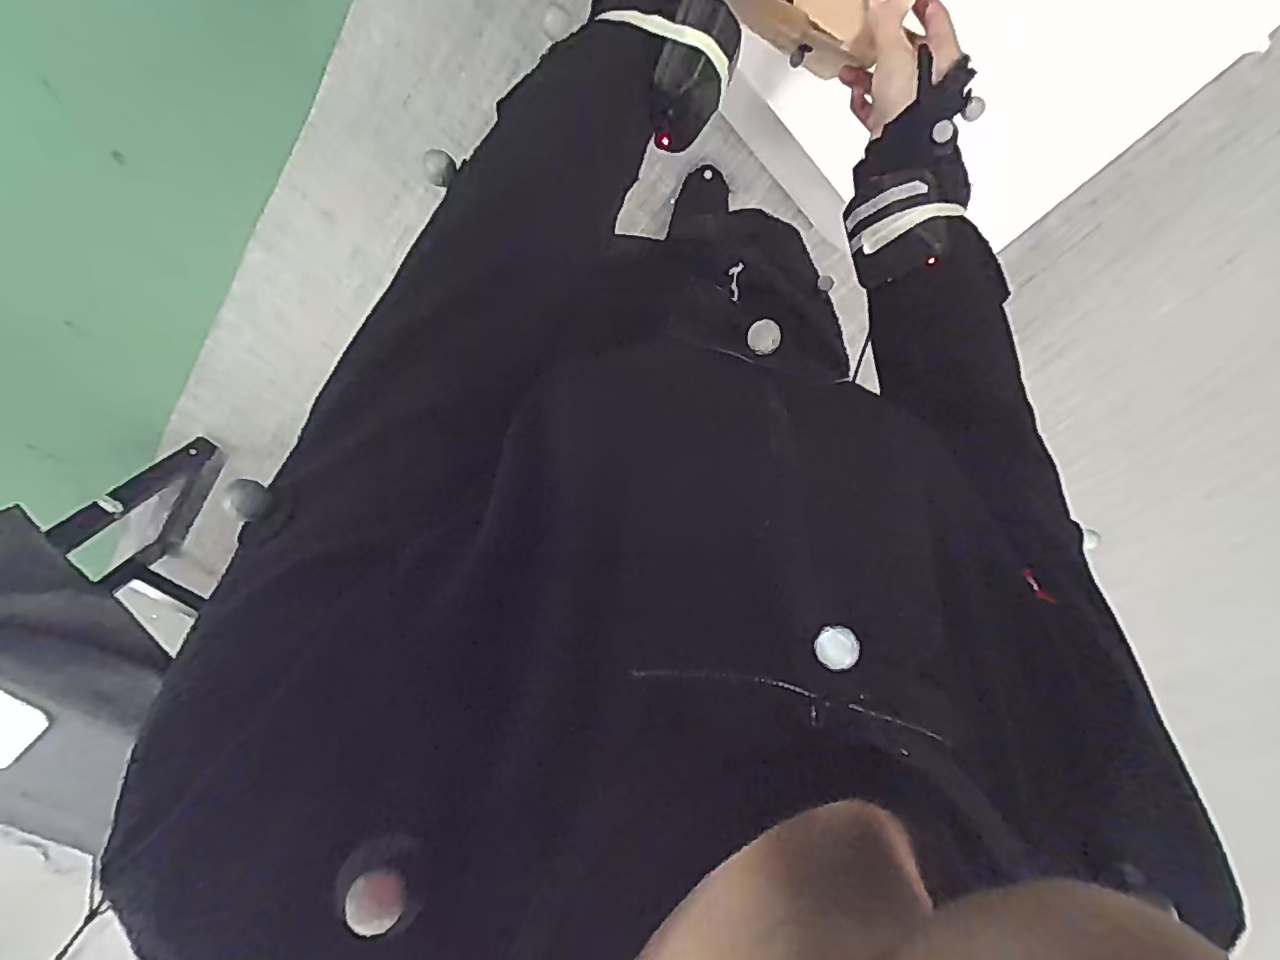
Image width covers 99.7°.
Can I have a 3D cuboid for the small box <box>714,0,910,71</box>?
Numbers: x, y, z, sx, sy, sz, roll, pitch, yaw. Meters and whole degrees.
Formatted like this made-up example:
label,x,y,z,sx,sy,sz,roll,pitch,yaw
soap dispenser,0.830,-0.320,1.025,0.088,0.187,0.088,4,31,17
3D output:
label,x,y,z,sx,sy,sz,roll,pitch,yaw
small box,0.142,-0.445,0.405,0.168,0.176,0.179,24,122,-12
